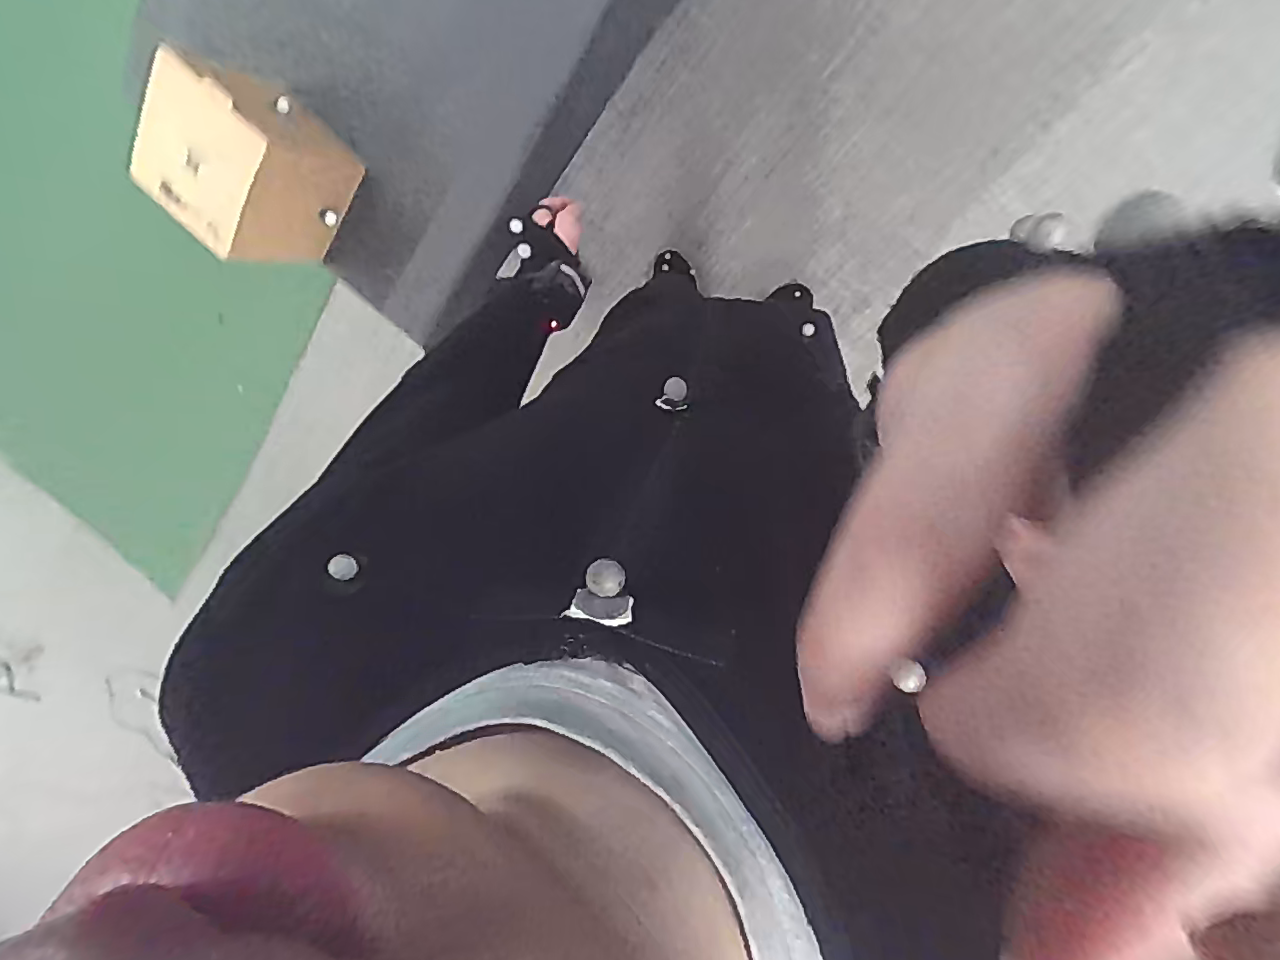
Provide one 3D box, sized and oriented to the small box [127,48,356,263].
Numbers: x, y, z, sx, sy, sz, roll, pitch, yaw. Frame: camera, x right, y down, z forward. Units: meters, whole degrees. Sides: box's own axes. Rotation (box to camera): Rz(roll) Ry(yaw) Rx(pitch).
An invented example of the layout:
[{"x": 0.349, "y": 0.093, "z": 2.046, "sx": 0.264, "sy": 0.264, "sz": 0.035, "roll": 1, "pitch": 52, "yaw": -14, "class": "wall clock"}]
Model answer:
[{"x": -0.533, "y": -0.425, "z": 0.745, "sx": 0.168, "sy": 0.176, "sz": 0.179, "roll": 43, "pitch": 115, "yaw": -3, "class": "small box"}]
